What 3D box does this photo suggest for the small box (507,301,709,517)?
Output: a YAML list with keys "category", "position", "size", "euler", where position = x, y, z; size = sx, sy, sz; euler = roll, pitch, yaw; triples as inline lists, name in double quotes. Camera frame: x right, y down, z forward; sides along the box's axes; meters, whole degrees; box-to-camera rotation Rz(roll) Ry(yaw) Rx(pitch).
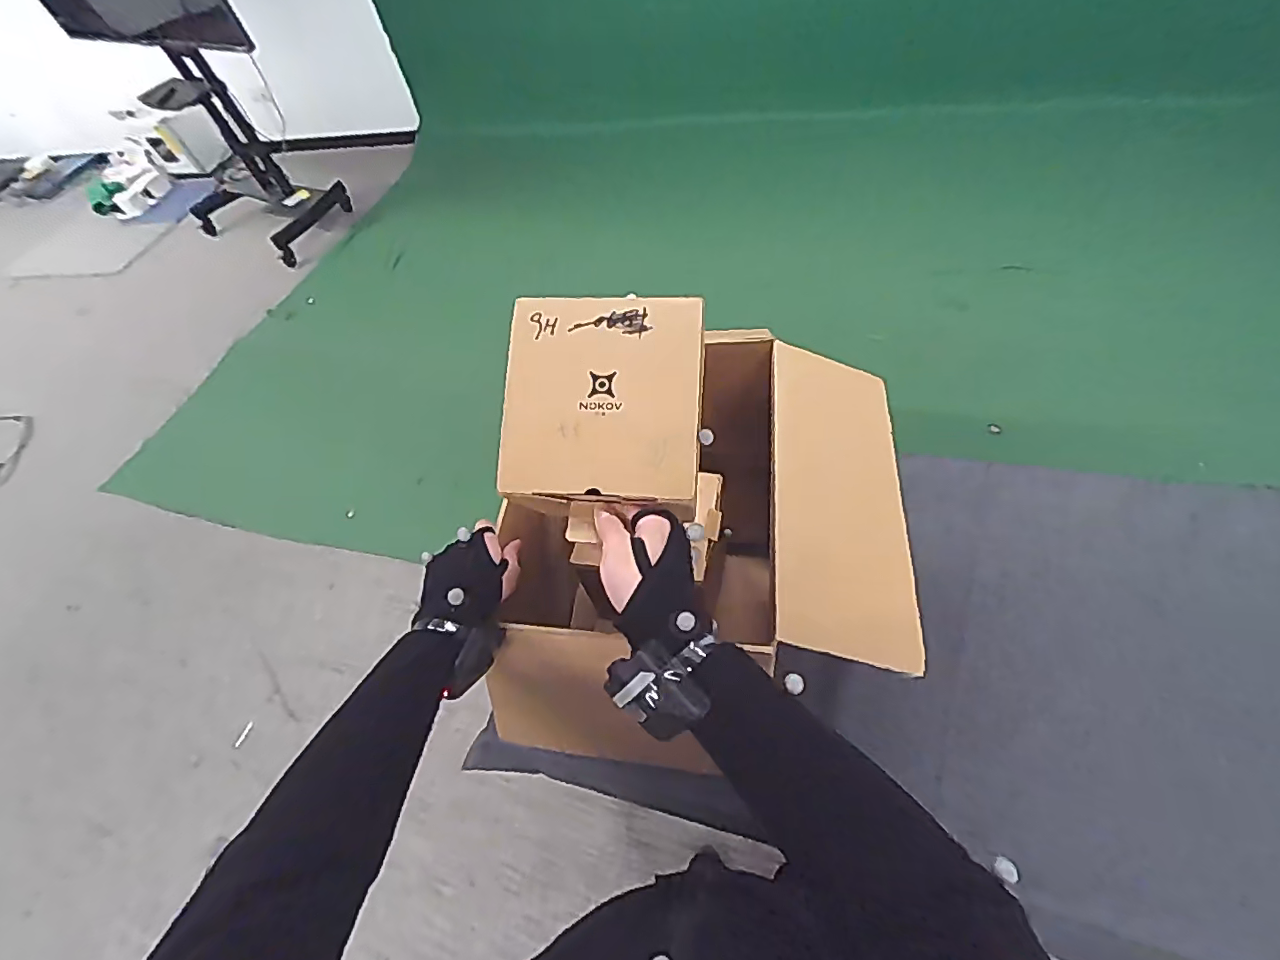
- category: "small box"
  position: [-0.018, -0.058, 0.535]
  size: [0.168, 0.176, 0.179]
  euler: [2, 81, 7]
